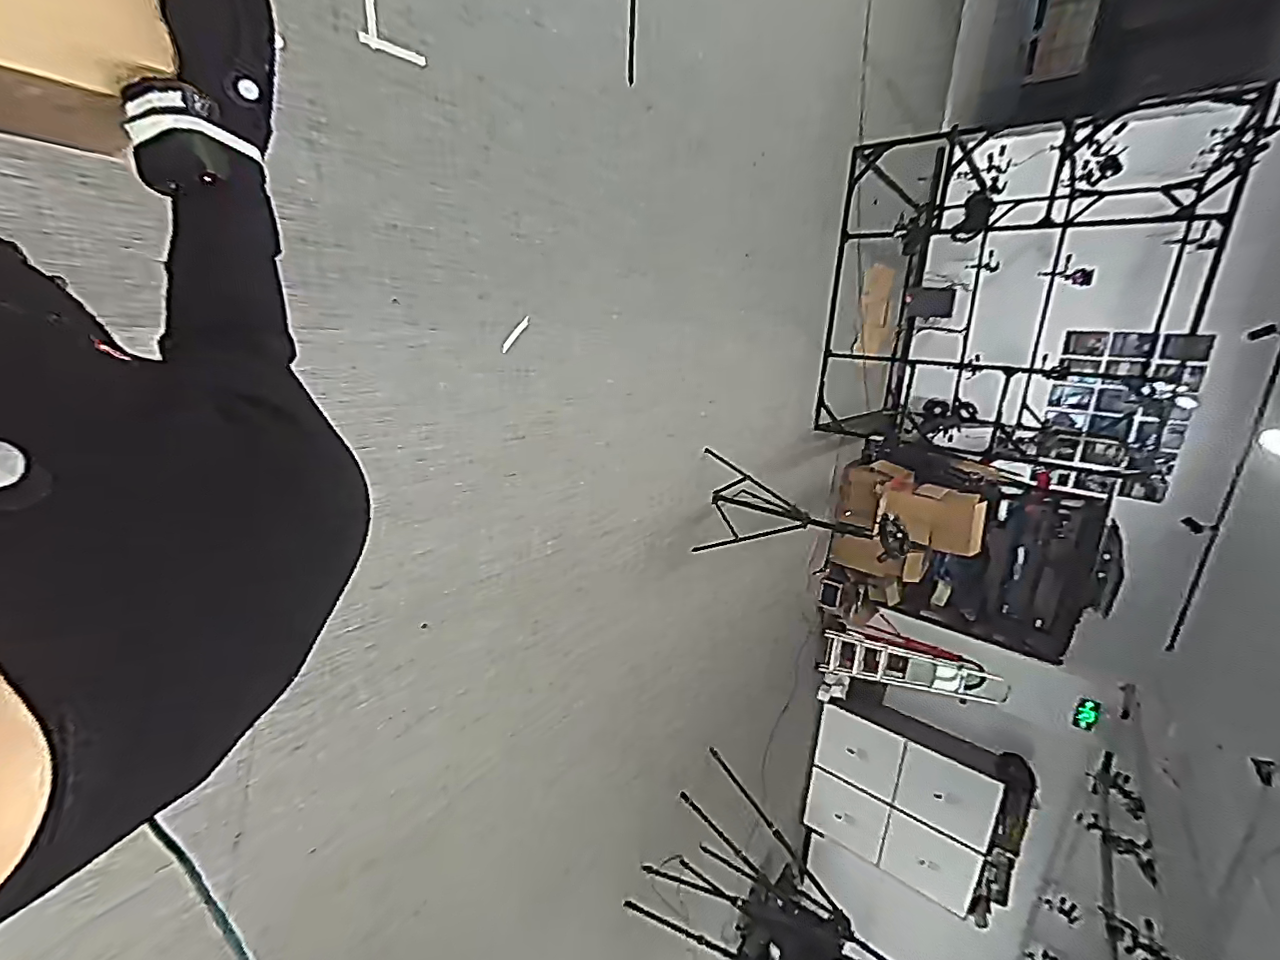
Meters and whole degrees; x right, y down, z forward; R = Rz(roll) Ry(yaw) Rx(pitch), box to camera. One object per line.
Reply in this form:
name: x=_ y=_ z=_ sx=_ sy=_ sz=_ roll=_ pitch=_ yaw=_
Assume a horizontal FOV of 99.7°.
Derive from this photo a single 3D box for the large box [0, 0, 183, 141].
large box: x=-0.587 y=-0.441 z=0.316 sx=0.408 sy=0.320 sz=0.320 roll=-16 pitch=118 yaw=-49
